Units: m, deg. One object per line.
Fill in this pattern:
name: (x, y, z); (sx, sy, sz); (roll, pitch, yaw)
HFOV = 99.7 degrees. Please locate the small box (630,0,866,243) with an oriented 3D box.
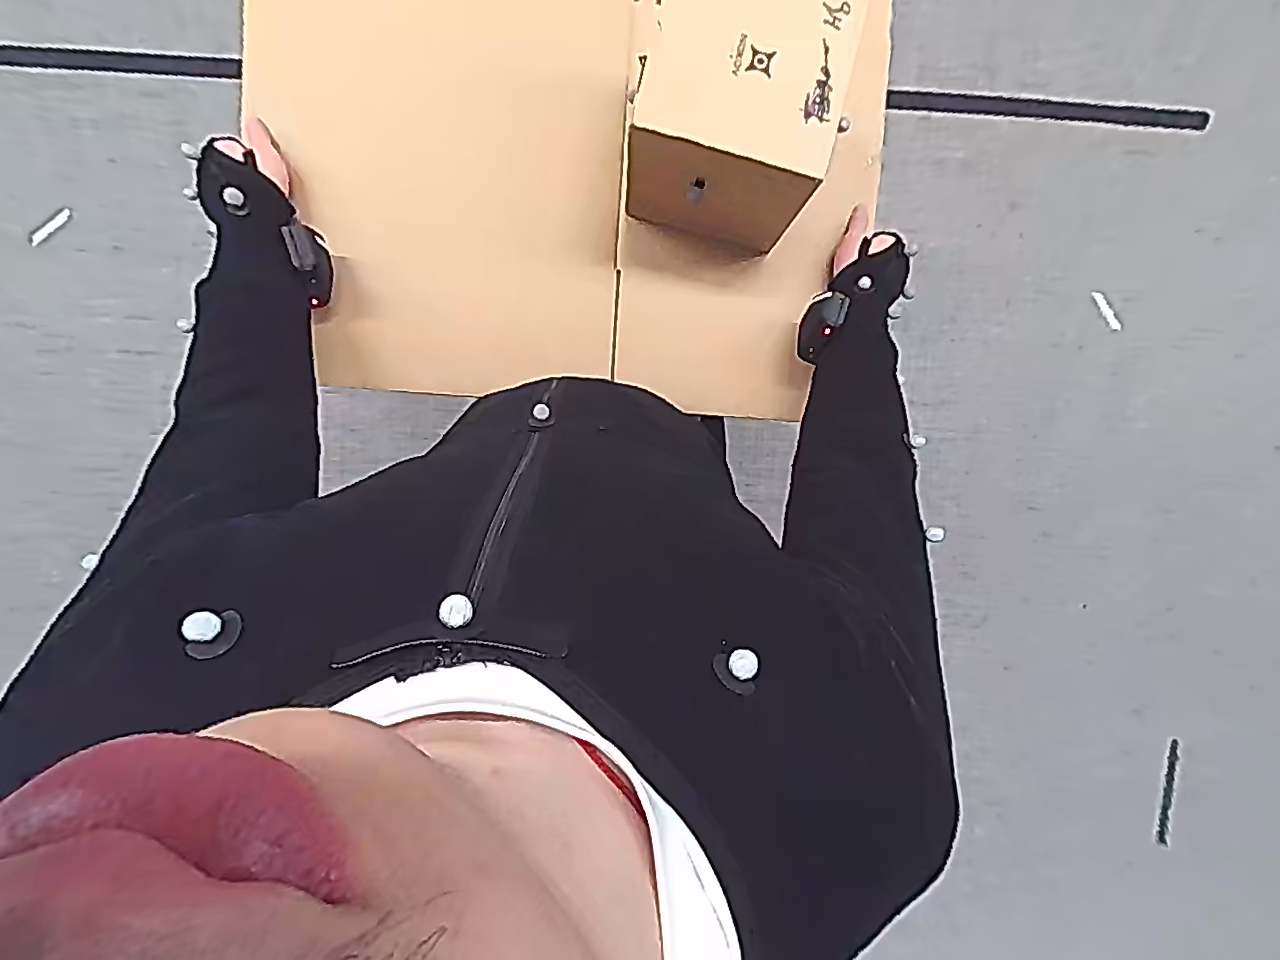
small box: (0.092, -0.366, 0.546); (0.179, 0.176, 0.168); (14, 92, -2)
